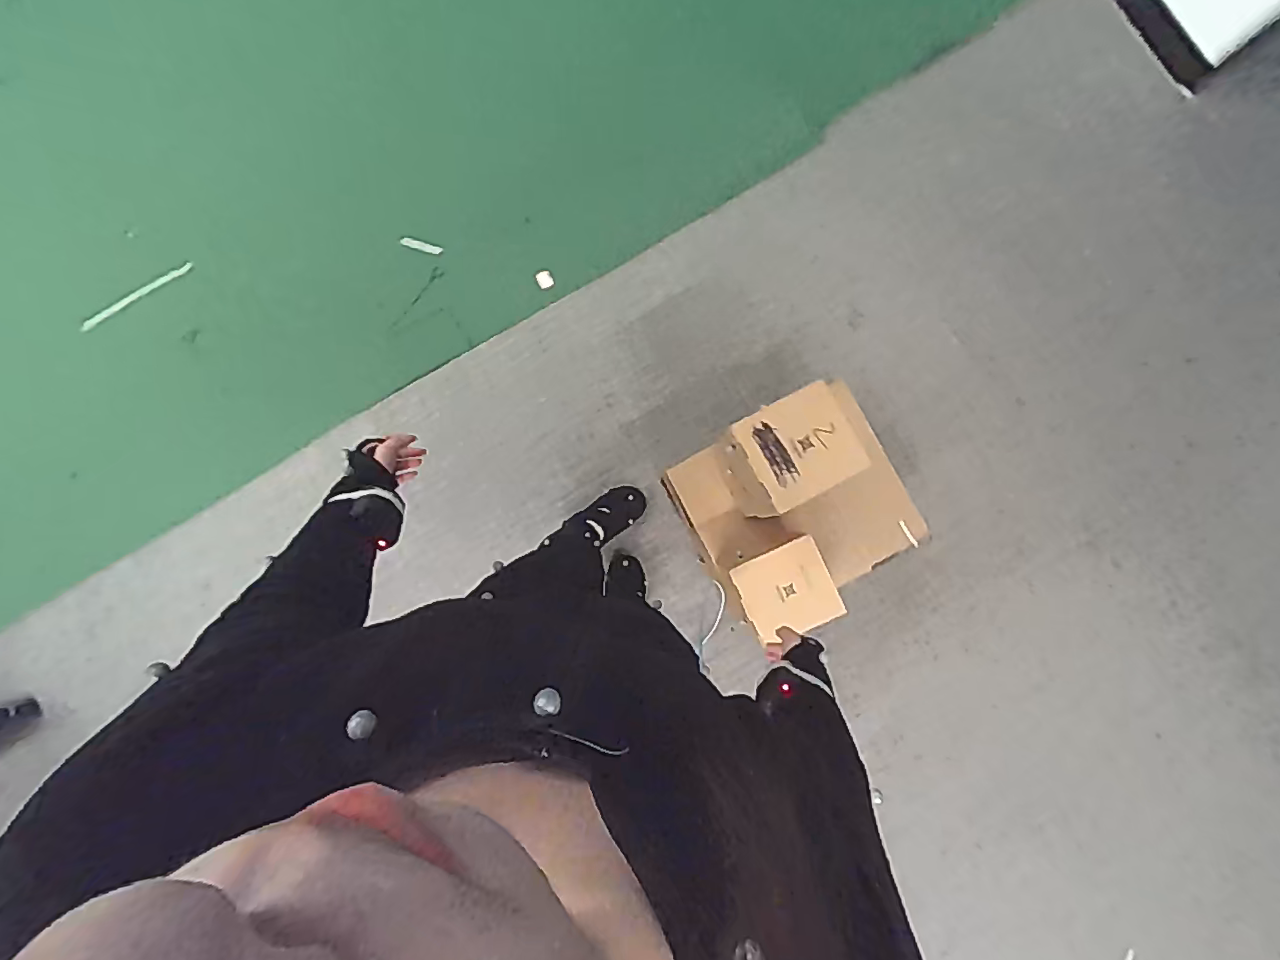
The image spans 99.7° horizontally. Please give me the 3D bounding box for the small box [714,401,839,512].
[{"bbox_3d":[0.271,-0.041,1.113,0.179,0.176,0.168,-24,85,-2],"label":"small box"}]

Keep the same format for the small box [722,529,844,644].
[{"bbox_3d":[0.276,0.207,1.098,0.179,0.176,0.168,-23,88,-2],"label":"small box"}]
